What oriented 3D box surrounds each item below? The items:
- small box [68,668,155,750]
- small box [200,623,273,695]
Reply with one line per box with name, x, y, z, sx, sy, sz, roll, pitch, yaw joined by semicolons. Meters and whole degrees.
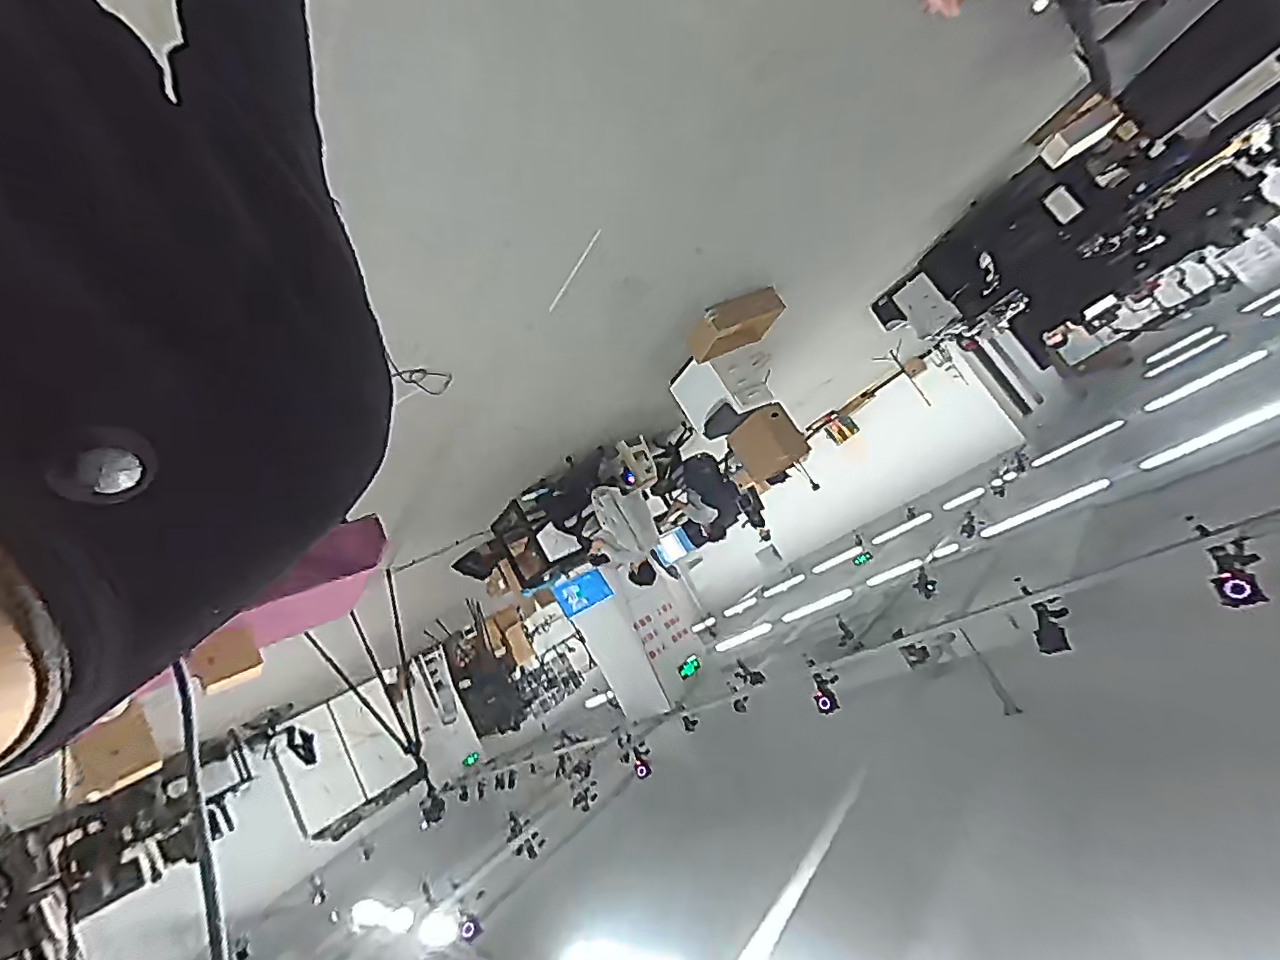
small box;-1.708;0.735;1.749;0.168;0.176;0.179;-20;164;-48
small box;-1.492;0.658;1.994;0.179;0.176;0.168;-20;165;-46
